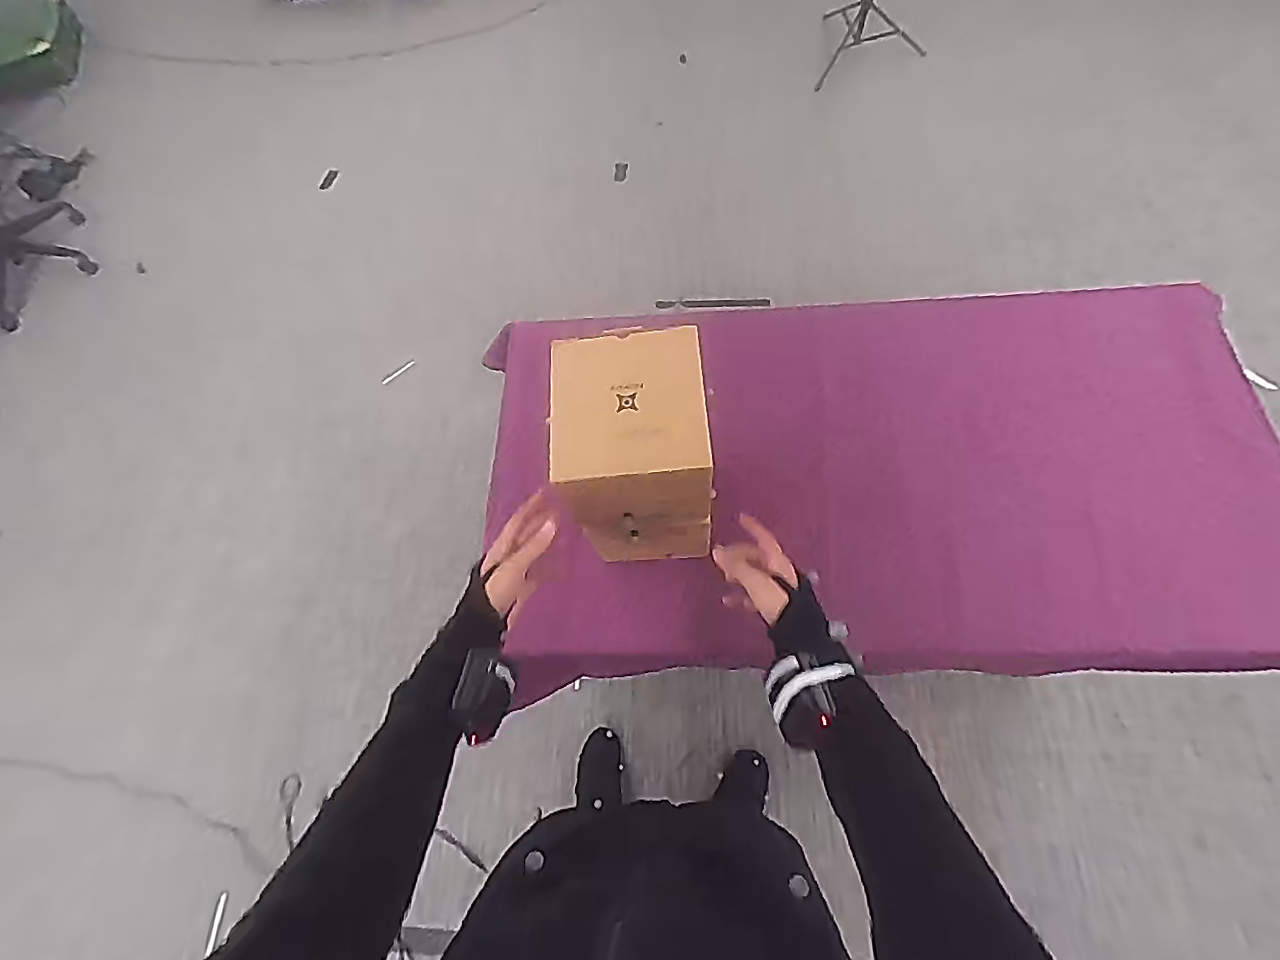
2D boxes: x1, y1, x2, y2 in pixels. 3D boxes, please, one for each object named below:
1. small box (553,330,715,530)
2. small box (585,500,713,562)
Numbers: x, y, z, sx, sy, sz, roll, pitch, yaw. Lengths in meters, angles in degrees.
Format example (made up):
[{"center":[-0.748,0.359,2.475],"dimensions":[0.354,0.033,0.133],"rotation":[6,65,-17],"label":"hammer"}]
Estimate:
[{"center":[-0.003,-0.051,0.643],"dimensions":[0.168,0.176,0.179],"rotation":[-4,68,4],"label":"small box"},{"center":[0.017,0.013,0.792],"dimensions":[0.168,0.176,0.179],"rotation":[-3,67,5],"label":"small box"}]
